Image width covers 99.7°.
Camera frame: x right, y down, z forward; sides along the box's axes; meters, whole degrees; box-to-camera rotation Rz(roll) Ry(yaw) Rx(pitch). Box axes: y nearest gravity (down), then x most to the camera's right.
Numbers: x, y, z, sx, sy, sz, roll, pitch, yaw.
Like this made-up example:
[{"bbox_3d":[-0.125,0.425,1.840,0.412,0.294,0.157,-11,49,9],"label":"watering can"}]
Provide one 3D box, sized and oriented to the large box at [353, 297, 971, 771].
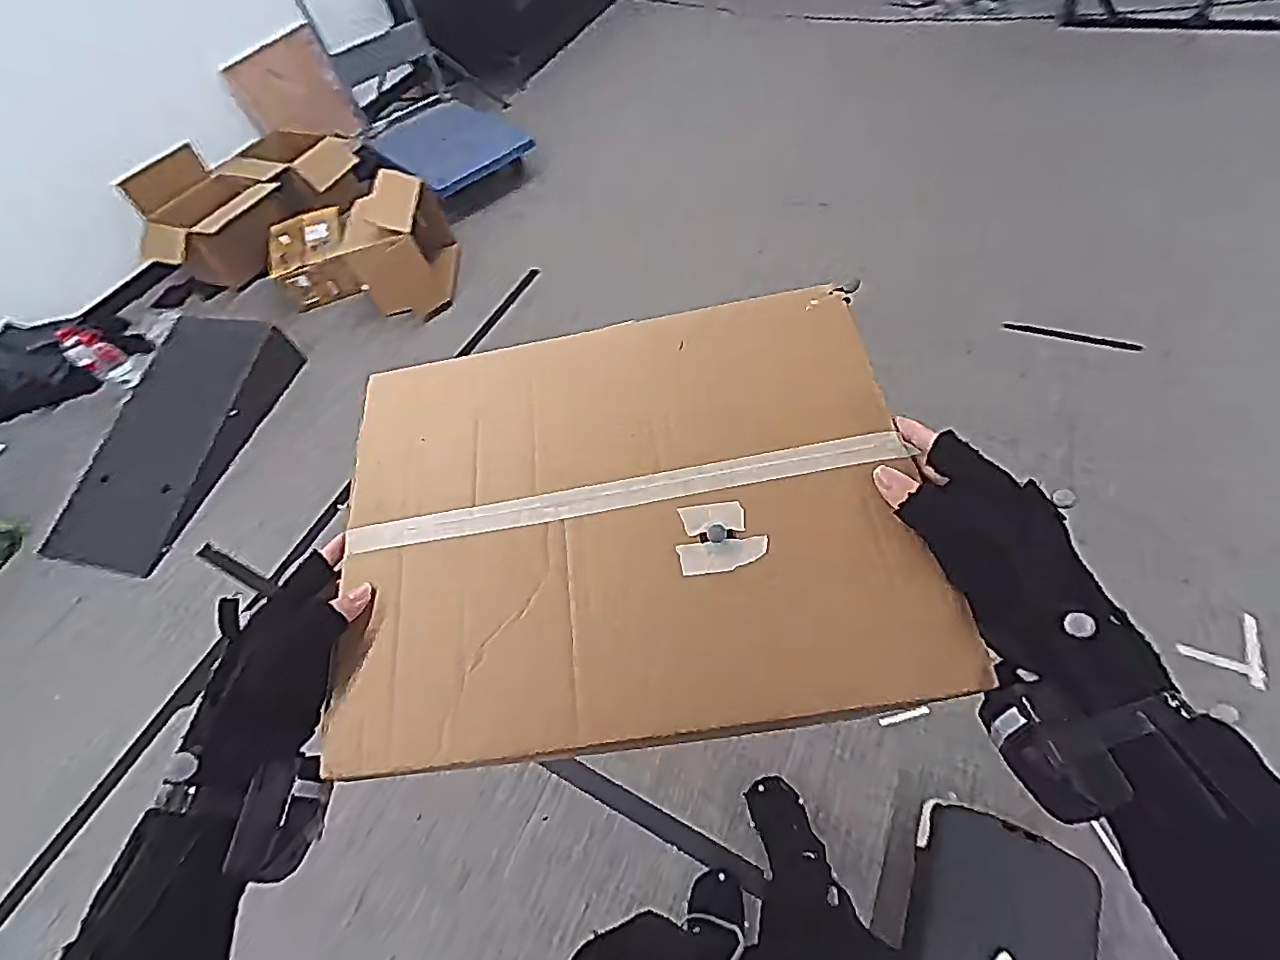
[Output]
[{"bbox_3d":[0.006,0.080,0.535,0.408,0.320,0.320,-10,64,3],"label":"large box"}]
